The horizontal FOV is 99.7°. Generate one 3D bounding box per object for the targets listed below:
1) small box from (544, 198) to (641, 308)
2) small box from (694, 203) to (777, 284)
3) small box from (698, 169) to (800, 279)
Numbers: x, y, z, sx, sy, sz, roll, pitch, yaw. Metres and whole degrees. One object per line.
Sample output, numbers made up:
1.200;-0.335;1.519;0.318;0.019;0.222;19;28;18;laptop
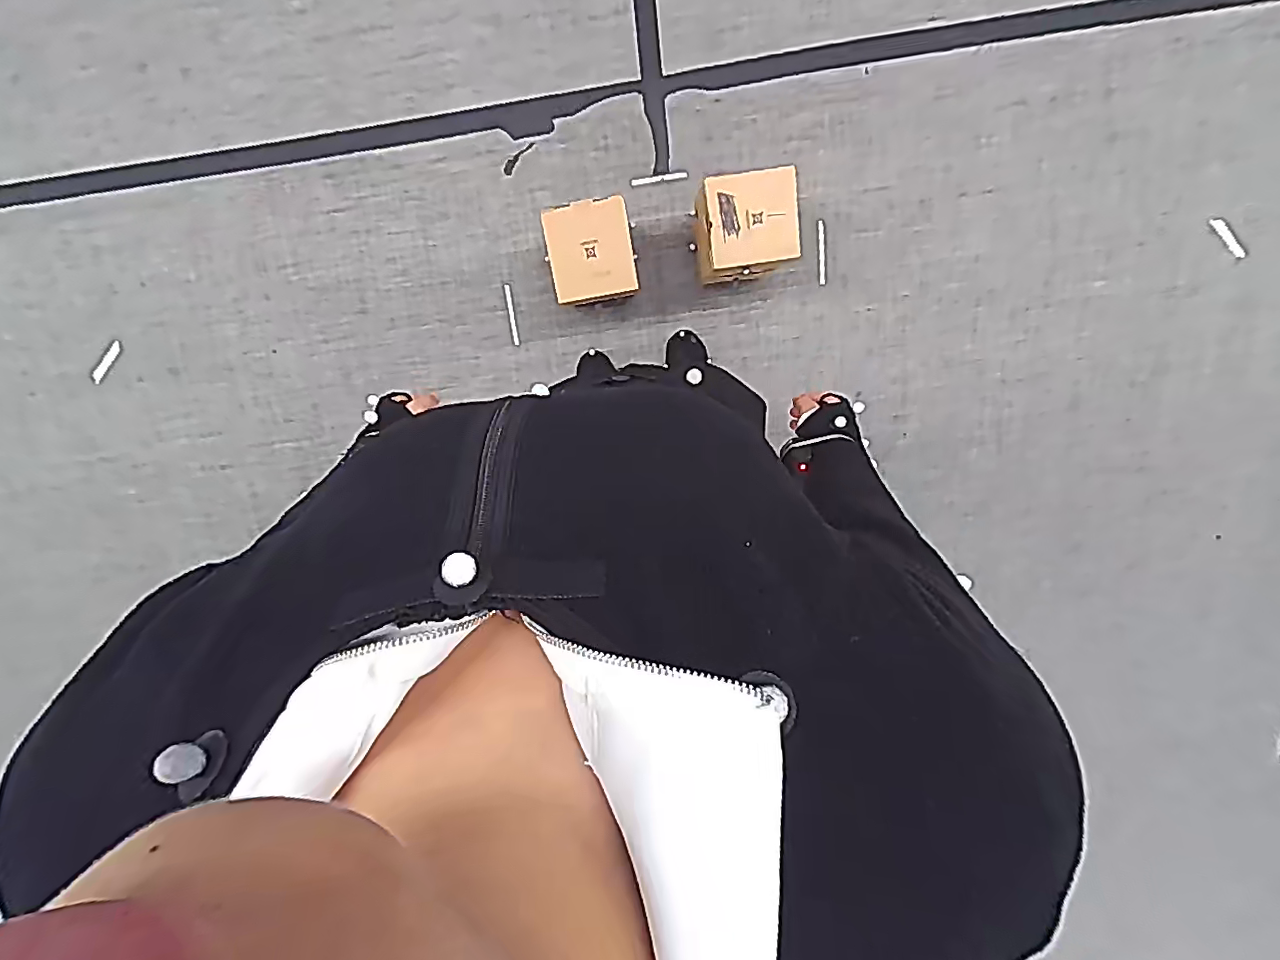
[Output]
-0.092;-0.465;1.131;0.168;0.176;0.179;-9;106;4;small box
0.221;-0.562;1.275;0.168;0.176;0.179;-6;107;0;small box
0.218;-0.518;1.116;0.179;0.176;0.168;-8;105;0;small box
